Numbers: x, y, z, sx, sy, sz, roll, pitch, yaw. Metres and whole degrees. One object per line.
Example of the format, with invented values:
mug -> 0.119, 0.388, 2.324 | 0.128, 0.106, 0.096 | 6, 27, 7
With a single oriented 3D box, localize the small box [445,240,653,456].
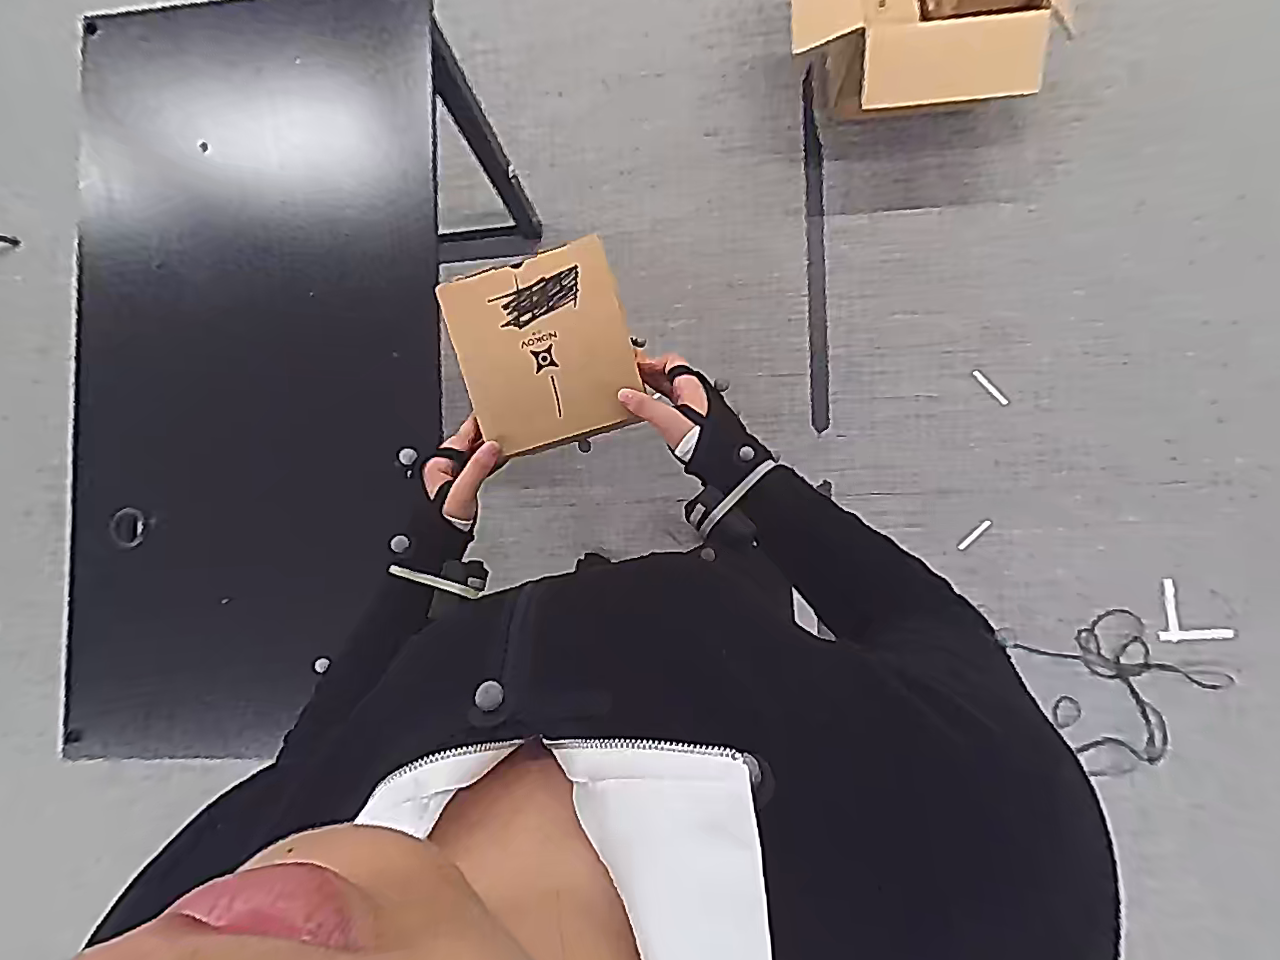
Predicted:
small box -> -0.086, -0.132, 0.602 | 0.168, 0.176, 0.179 | -16, 94, 4

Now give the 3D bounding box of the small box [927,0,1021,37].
small box -> 0.792, -1.177, 1.250 | 0.179, 0.176, 0.168 | -4, 86, 3
